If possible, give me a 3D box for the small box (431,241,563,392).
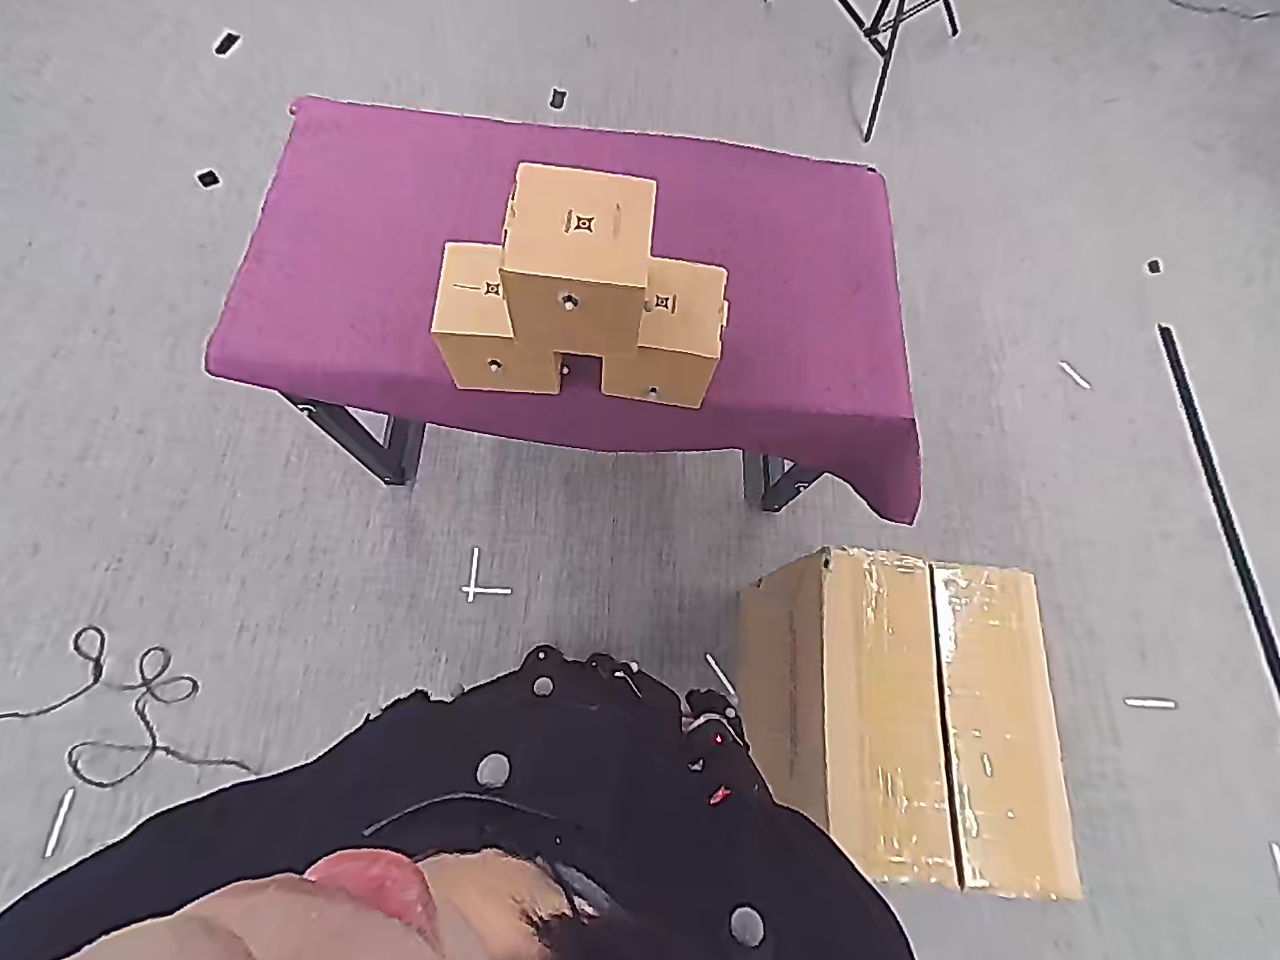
[{"bbox_3d":[-0.215,-0.254,0.875,0.179,0.176,0.168,3,70,-3],"label":"small box"}]

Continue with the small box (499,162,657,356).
[{"bbox_3d":[-0.077,-0.285,0.726,0.179,0.176,0.168,6,72,-4],"label":"small box"}]

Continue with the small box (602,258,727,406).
[{"bbox_3d":[0.035,-0.238,0.895,0.179,0.176,0.168,8,70,-2],"label":"small box"}]
